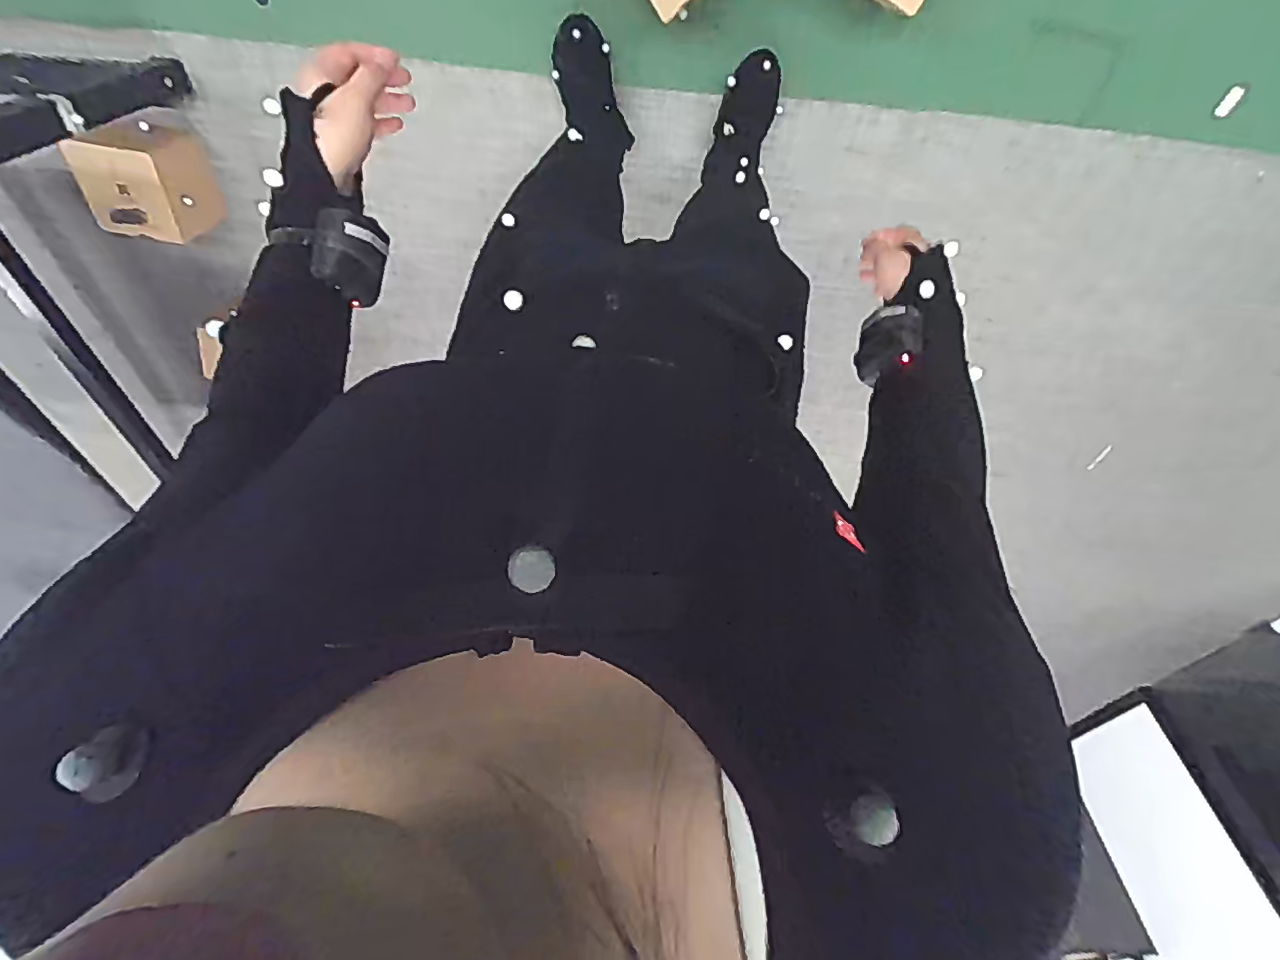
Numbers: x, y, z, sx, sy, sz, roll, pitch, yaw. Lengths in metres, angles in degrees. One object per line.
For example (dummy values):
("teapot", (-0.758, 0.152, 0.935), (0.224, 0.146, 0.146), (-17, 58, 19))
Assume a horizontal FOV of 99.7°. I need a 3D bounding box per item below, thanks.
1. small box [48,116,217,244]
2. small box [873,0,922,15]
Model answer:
("small box", (-1.041, -0.629, 1.133), (0.168, 0.176, 0.179), (7, 135, -7))
("small box", (0.393, -0.879, 0.848), (0.179, 0.176, 0.168), (17, 134, -17))
